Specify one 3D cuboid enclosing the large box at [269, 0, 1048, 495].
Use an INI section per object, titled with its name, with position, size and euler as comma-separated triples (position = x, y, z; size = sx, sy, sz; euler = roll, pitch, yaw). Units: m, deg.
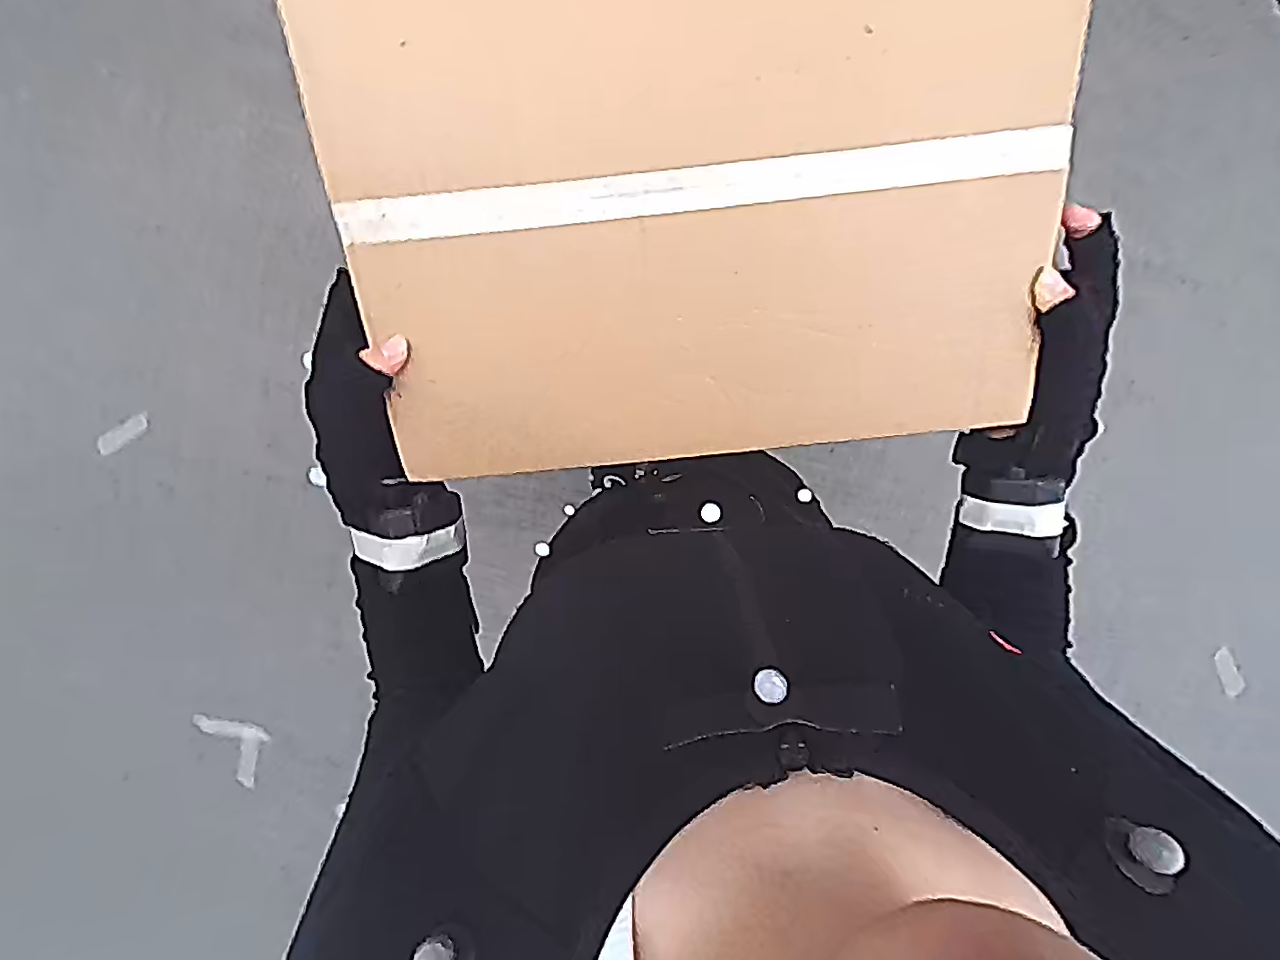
[large box]
position = 0.021, -0.211, 0.451
size = 0.408, 0.320, 0.320
euler = -7, 110, 0
